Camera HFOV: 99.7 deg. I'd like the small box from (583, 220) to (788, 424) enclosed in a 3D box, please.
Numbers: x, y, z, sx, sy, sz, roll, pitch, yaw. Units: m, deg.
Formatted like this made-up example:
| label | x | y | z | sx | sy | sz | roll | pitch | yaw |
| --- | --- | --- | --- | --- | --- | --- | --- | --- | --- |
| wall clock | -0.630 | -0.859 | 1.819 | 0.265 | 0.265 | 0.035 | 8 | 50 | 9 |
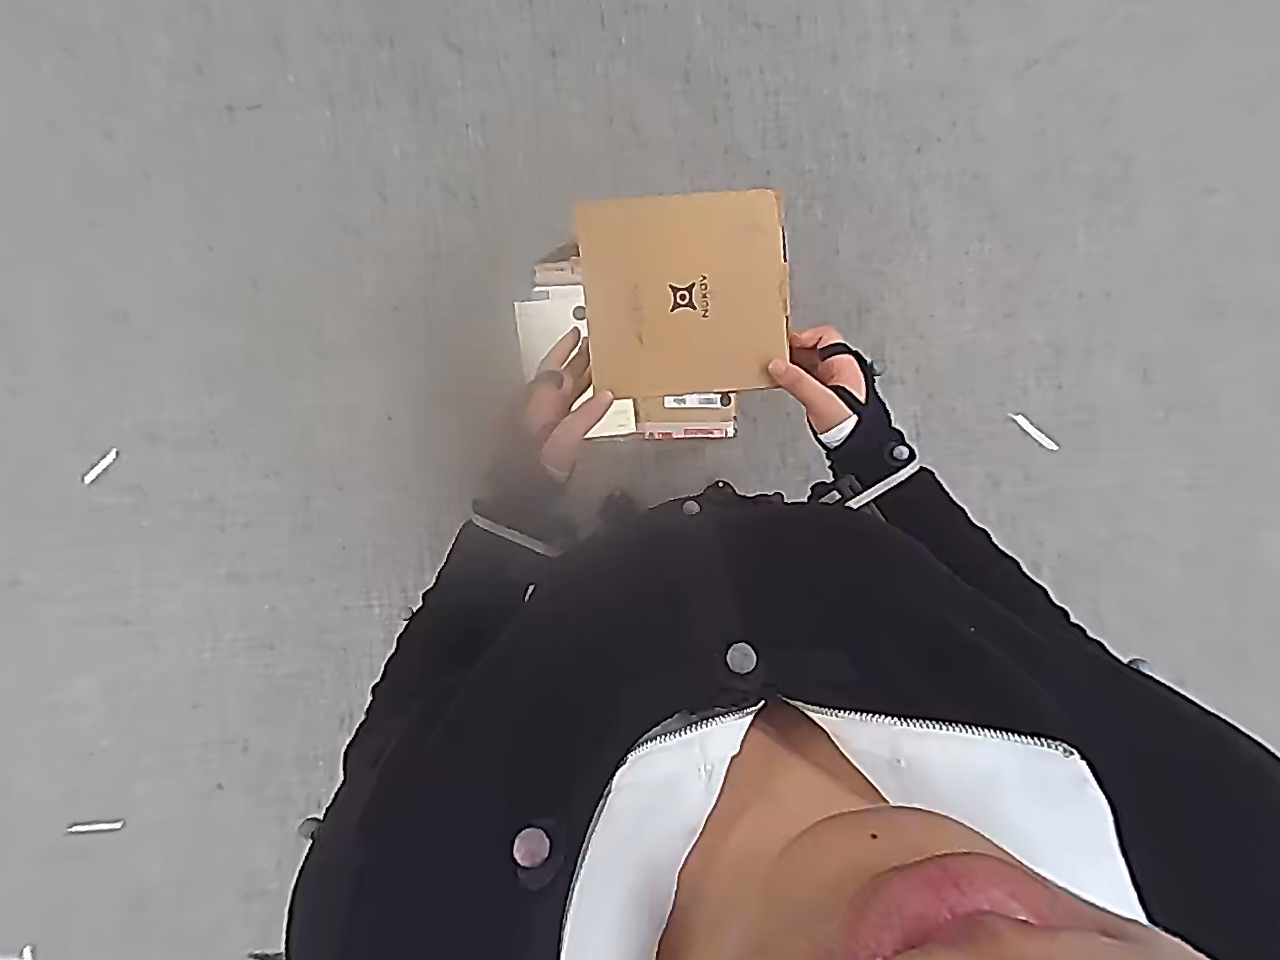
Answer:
| label | x | y | z | sx | sy | sz | roll | pitch | yaw |
| --- | --- | --- | --- | --- | --- | --- | --- | --- | --- |
| small box | 0.038 | -0.150 | 0.556 | 0.179 | 0.176 | 0.168 | -6 | 98 | -2 |
